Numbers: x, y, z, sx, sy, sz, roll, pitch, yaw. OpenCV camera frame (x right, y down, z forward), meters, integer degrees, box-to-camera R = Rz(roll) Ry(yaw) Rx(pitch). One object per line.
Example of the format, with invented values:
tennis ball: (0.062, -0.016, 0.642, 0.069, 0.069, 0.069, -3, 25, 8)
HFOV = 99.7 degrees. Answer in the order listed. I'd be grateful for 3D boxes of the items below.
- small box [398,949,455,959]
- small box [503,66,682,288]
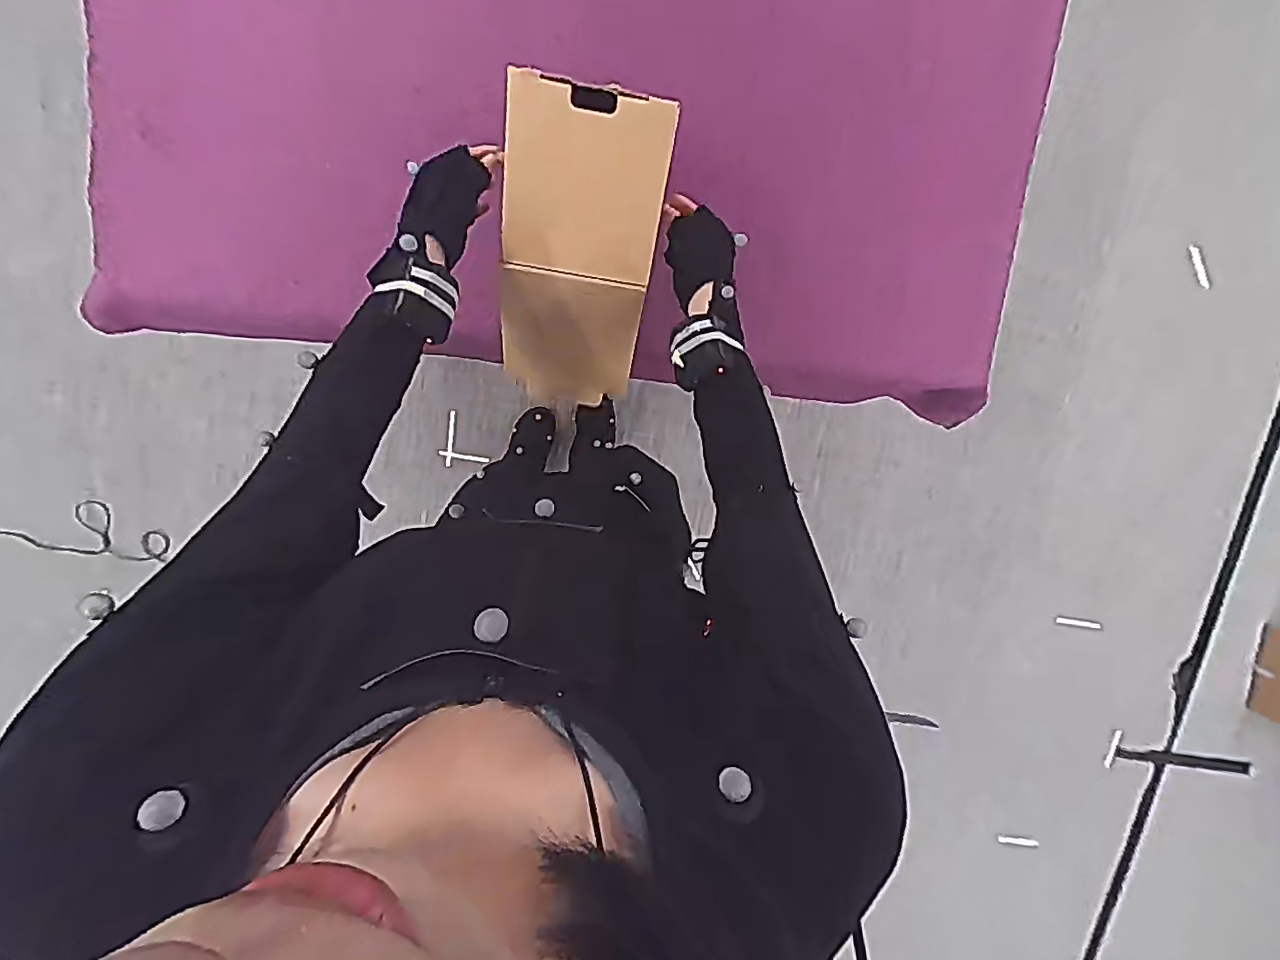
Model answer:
small box: (-0.669, 1.564, 1.629, 0.179, 0.176, 0.168, 9, 98, -8)
small box: (-0.057, -0.337, 0.619, 0.168, 0.176, 0.179, 7, 119, -6)
